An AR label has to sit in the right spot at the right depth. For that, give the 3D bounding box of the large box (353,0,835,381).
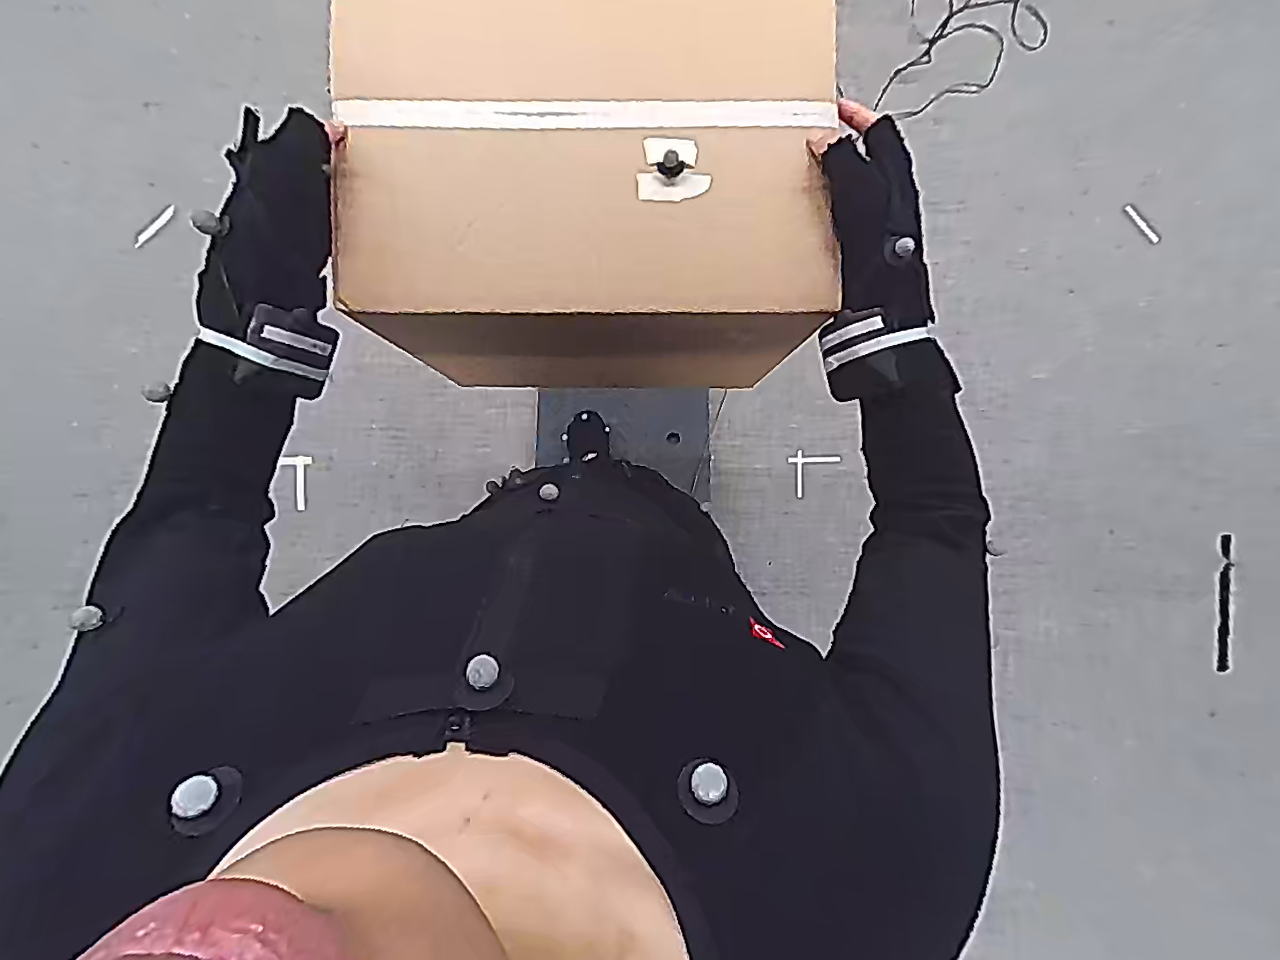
[{"bbox_3d":[-0.044,-0.298,0.600,0.408,0.320,0.320,-1,89,-2],"label":"large box"}]
